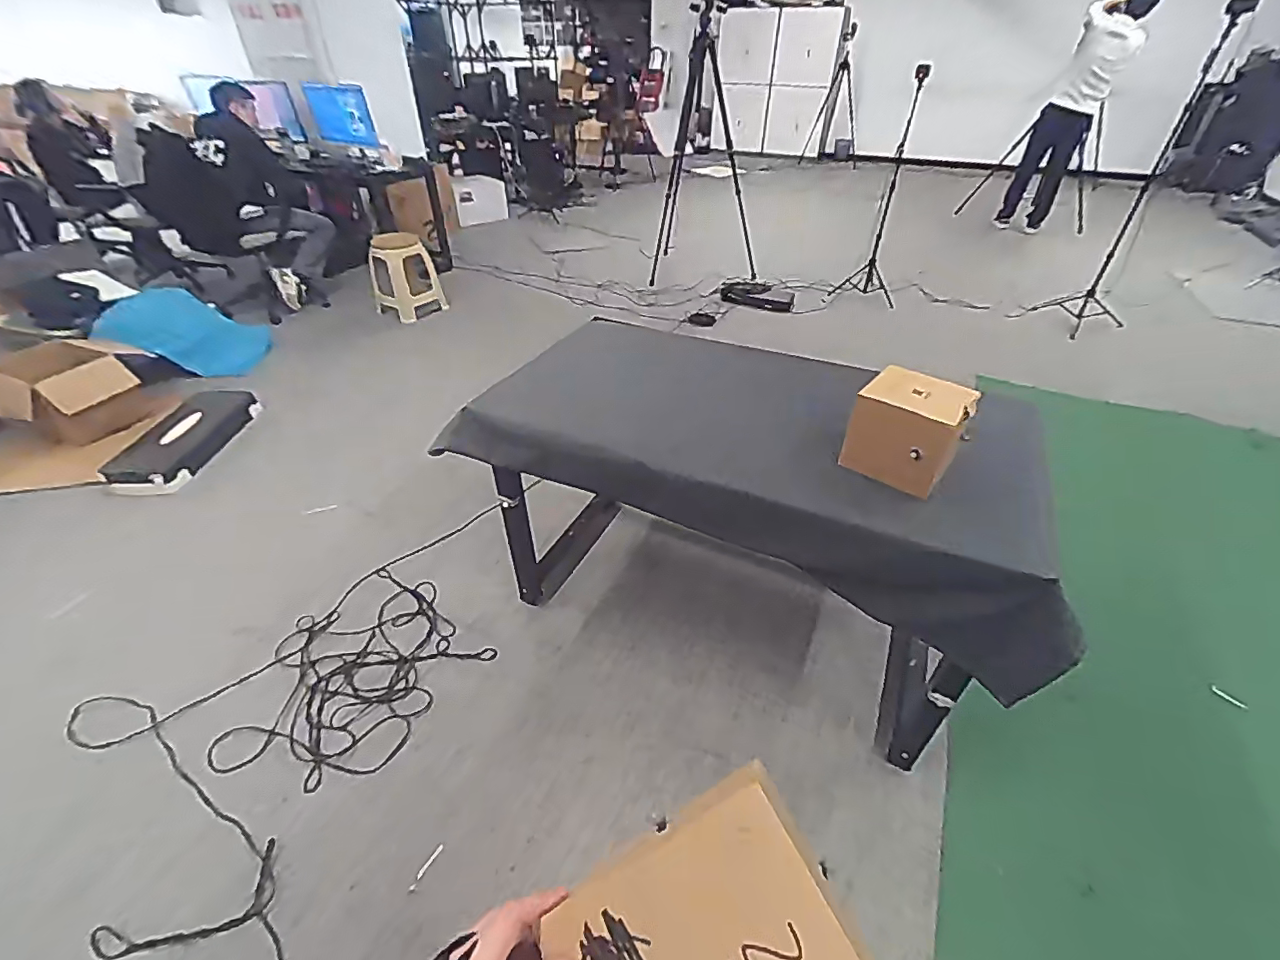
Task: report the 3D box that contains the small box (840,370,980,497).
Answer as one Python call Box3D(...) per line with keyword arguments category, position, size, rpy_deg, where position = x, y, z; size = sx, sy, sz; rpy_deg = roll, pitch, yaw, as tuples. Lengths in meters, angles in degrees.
Box3D(category="small box", position=(0.520, -0.089, 1.057), size=(0.179, 0.176, 0.168), rpy_deg=(27, 44, 31))
